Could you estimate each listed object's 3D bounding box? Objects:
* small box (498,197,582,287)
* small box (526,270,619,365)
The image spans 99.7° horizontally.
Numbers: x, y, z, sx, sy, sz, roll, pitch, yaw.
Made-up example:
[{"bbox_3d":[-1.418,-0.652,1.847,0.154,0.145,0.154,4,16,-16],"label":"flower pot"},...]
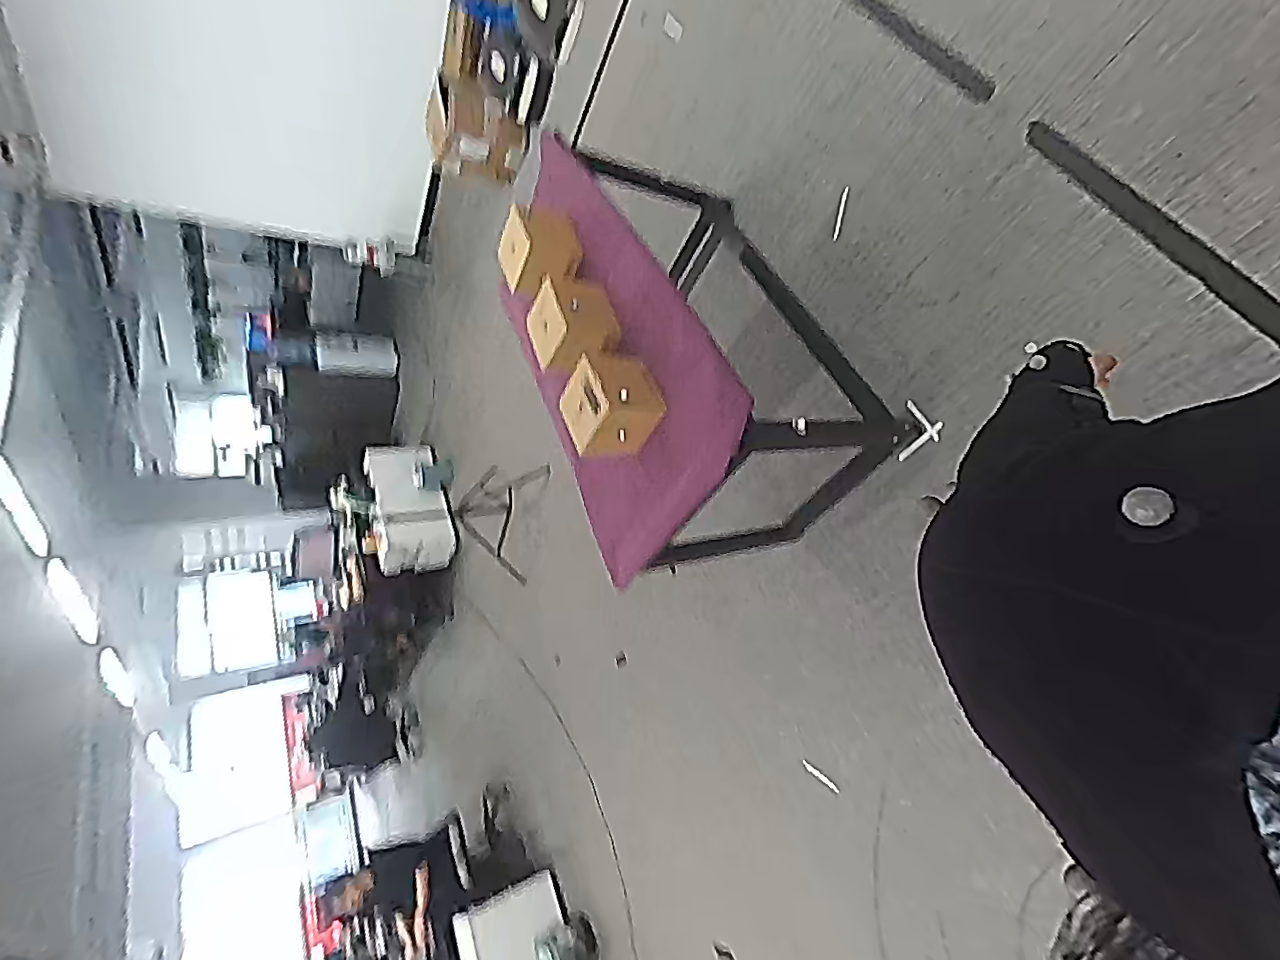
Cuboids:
[{"bbox_3d":[-0.286,-0.670,1.546,0.168,0.176,0.179,-49,55,46],"label":"small box"},{"bbox_3d":[-0.176,-0.419,1.423,0.168,0.176,0.179,-43,60,46],"label":"small box"}]
